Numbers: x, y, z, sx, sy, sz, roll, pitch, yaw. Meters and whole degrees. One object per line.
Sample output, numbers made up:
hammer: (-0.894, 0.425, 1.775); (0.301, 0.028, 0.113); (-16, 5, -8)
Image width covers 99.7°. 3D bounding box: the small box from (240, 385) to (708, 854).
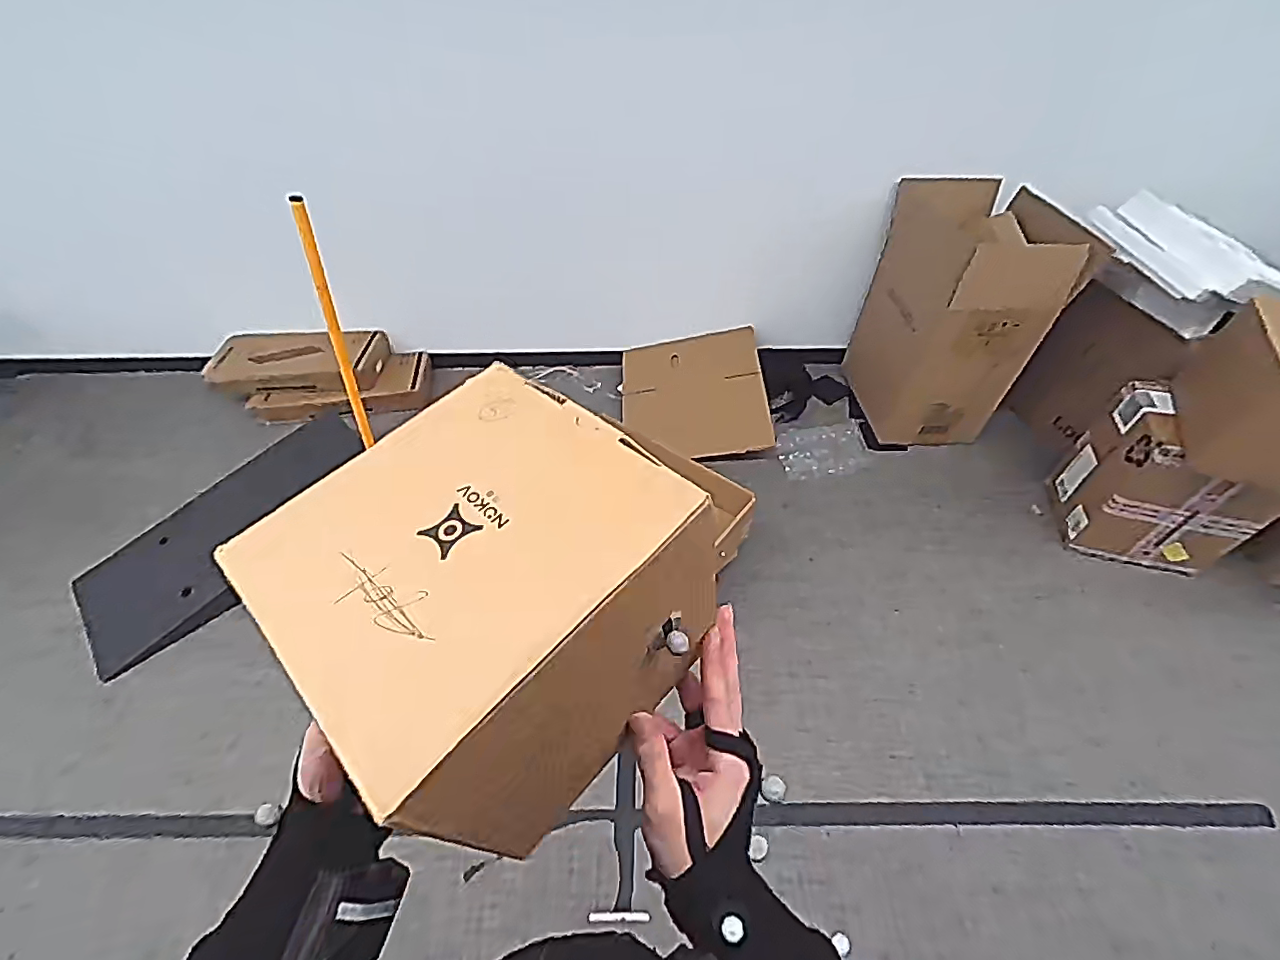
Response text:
small box: (-0.075, 0.081, 0.325); (0.168, 0.176, 0.179); (31, 62, 31)
